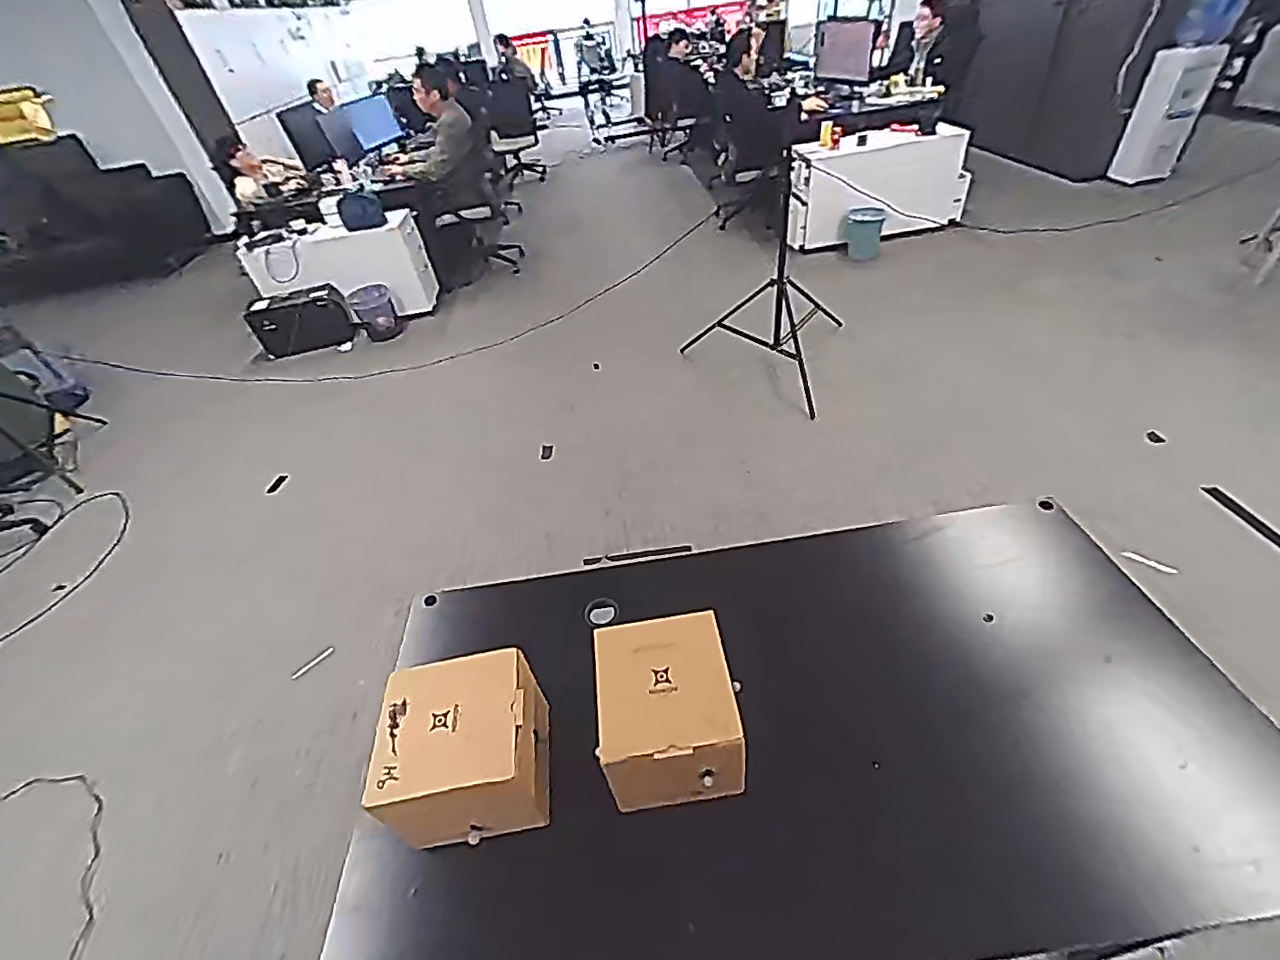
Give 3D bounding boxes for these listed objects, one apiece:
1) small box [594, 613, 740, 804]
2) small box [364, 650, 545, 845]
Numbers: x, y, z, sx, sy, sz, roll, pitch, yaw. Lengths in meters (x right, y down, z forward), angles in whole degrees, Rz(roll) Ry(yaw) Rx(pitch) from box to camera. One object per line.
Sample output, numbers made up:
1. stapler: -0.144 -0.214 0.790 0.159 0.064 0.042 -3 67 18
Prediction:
1. small box: 0.035 0.308 0.720 0.168 0.176 0.179 -8 41 -1
2. small box: -0.224 0.352 0.711 0.179 0.176 0.168 -9 41 -3
